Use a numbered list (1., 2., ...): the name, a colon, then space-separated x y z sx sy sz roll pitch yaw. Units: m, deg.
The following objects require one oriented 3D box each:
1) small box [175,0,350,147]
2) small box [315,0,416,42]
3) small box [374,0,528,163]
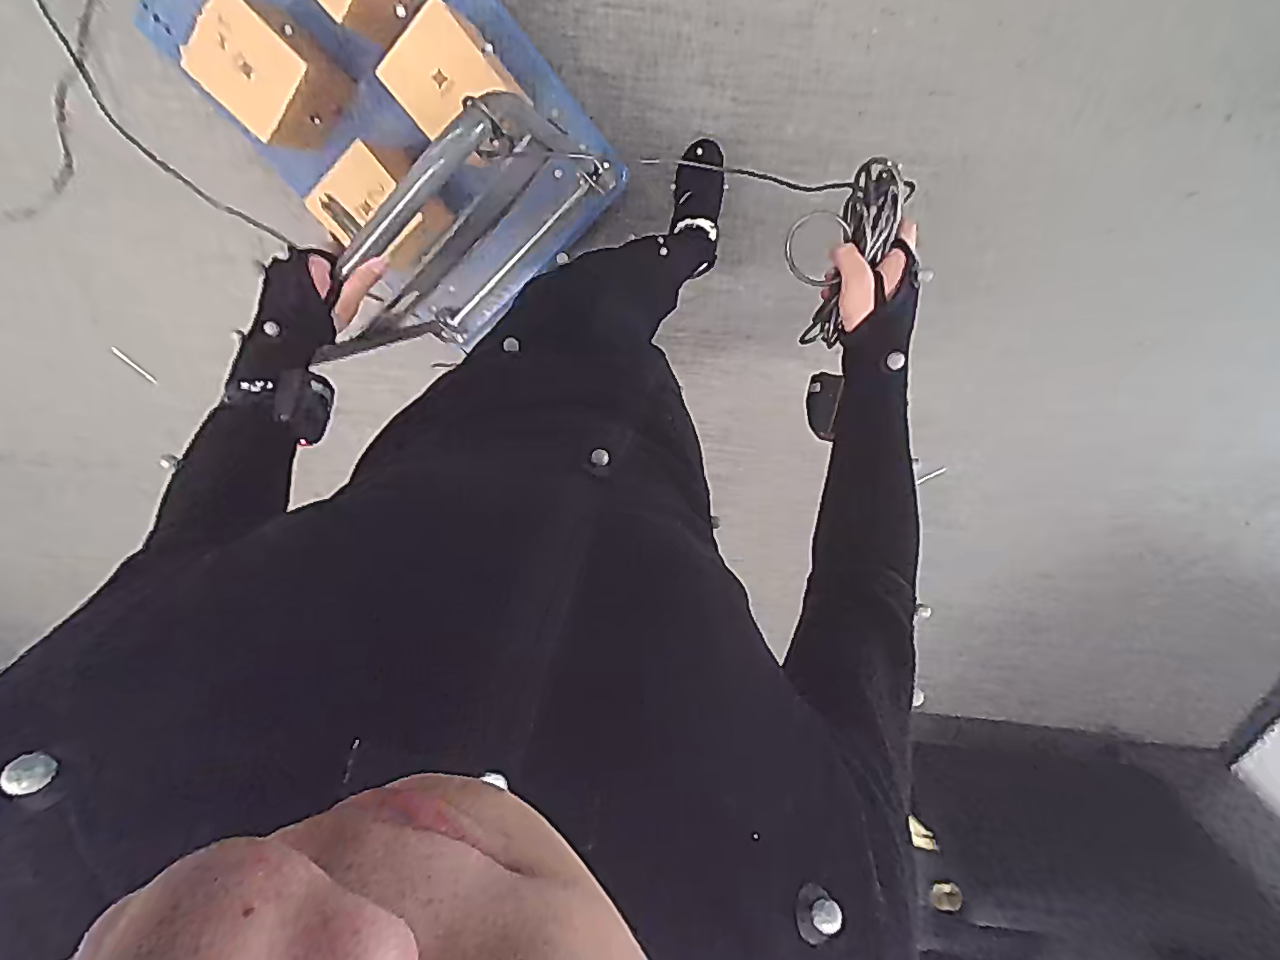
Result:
1. small box: -0.689 -0.754 1.008 0.168 0.176 0.179 -41 107 20
2. small box: -0.500 -0.903 0.919 0.168 0.176 0.179 -38 108 21
3. small box: -0.337 -0.719 0.999 0.168 0.176 0.179 -36 109 19
